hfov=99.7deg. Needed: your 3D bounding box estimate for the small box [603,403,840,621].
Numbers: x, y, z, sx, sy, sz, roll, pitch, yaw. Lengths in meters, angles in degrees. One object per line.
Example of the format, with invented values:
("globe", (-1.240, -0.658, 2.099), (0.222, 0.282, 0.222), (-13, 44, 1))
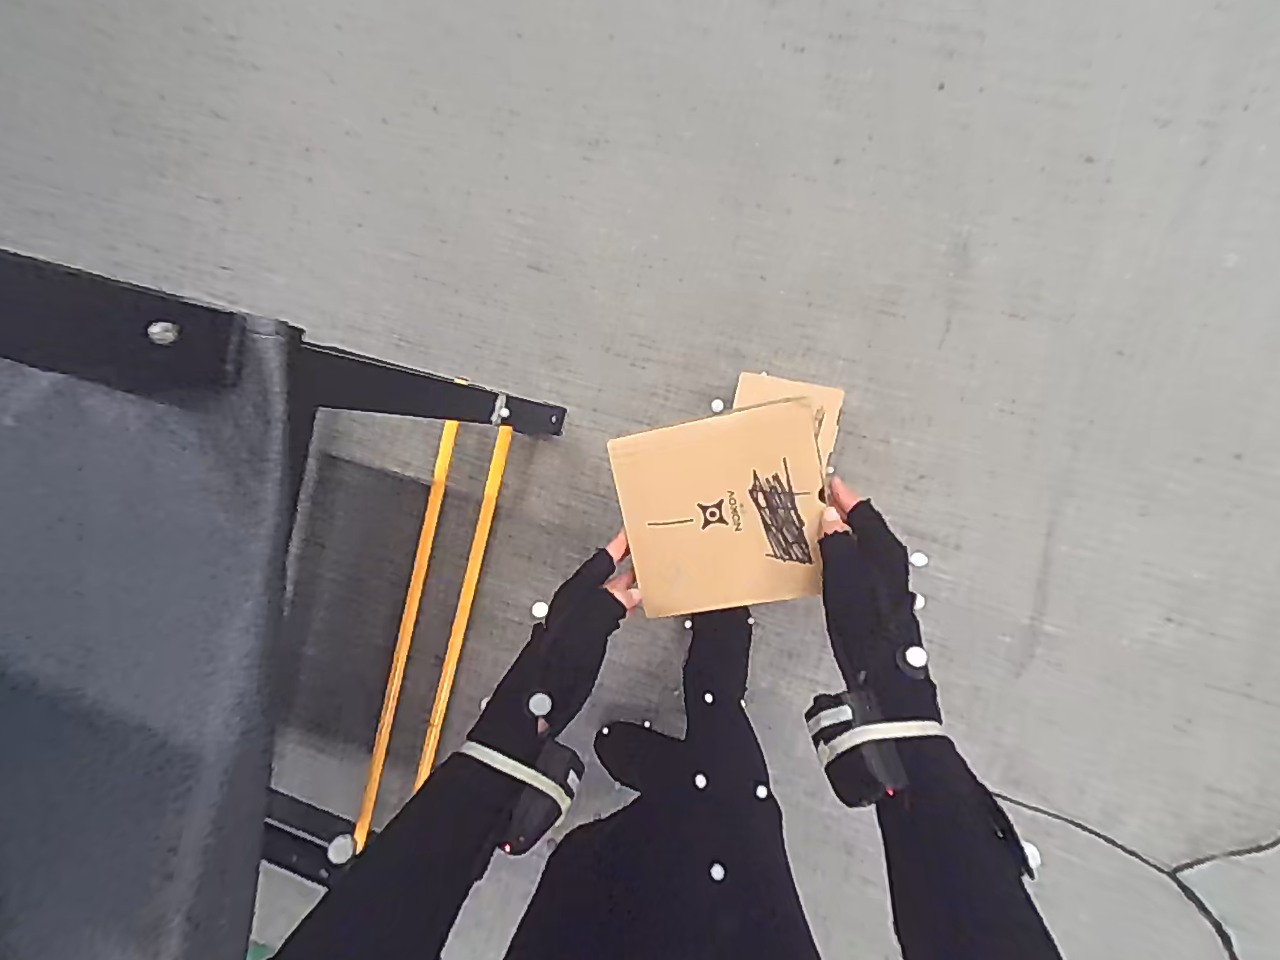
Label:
("small box", (0.079, 0.020, 0.532), (0.179, 0.176, 0.168), (-11, 96, 12))
